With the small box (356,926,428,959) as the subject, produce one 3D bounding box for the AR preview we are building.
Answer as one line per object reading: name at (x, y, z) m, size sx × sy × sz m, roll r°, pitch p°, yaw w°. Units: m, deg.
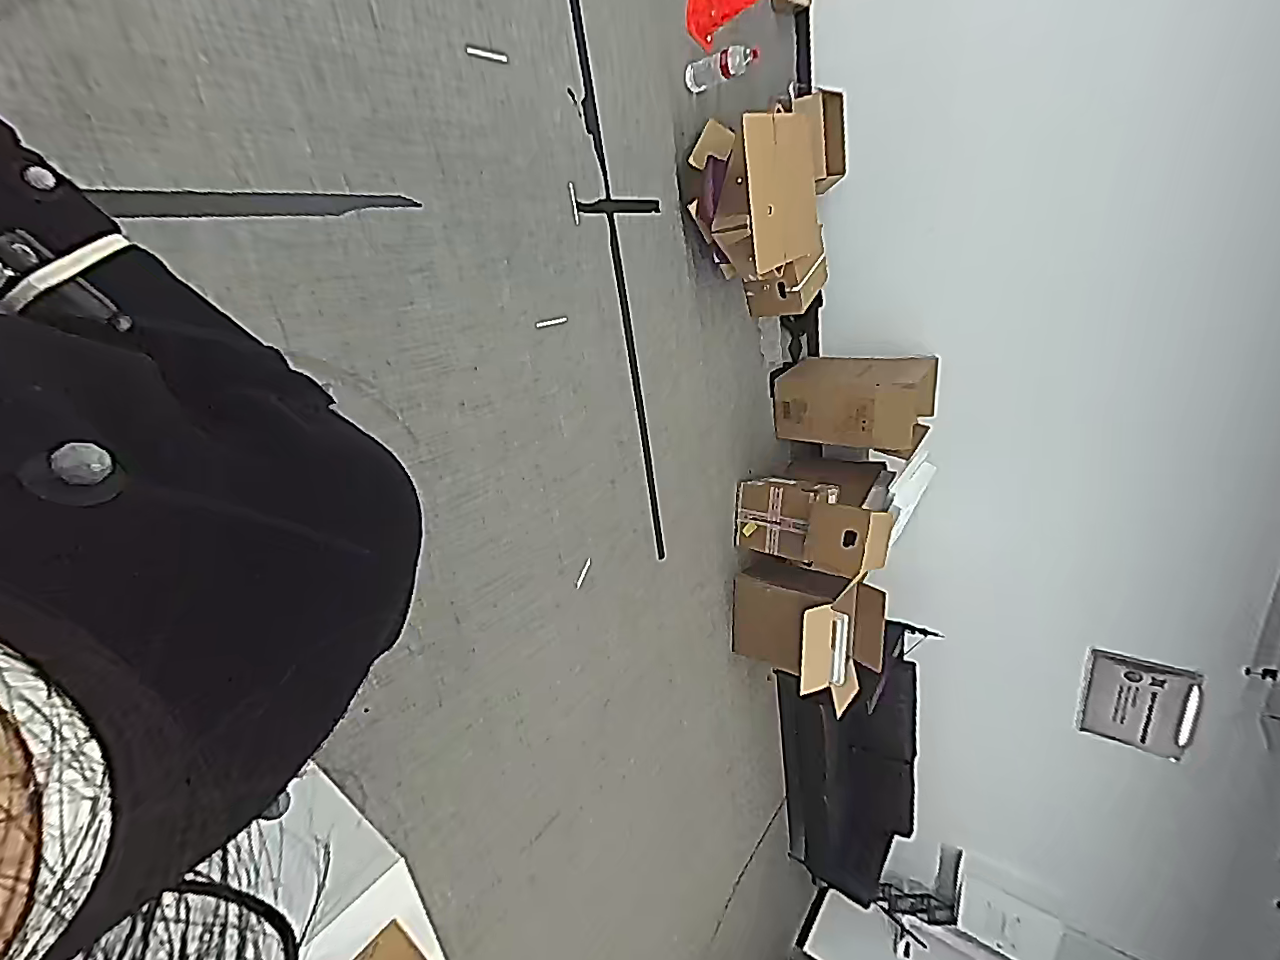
small box at (-0.455, 0.984, 0.992) m, size 0.168 × 0.176 × 0.179 m, roll -33°, pitch 122°, yaw -44°
